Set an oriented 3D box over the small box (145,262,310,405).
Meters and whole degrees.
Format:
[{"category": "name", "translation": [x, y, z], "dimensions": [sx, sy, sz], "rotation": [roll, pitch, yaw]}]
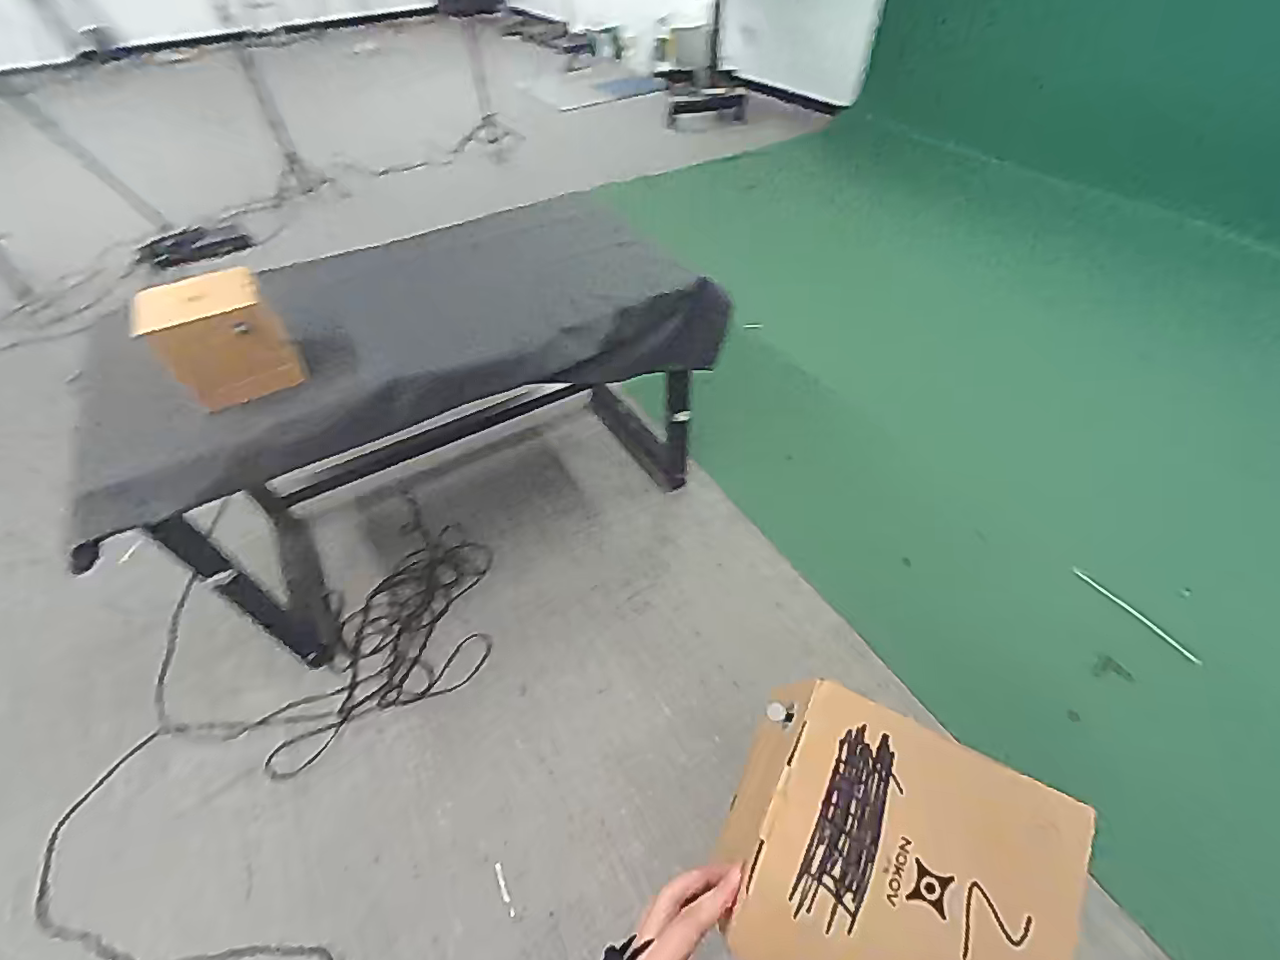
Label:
[{"category": "small box", "translation": [-0.734, -0.262, 0.974], "dimensions": [0.179, 0.176, 0.168], "rotation": [-25, 52, -20]}]
